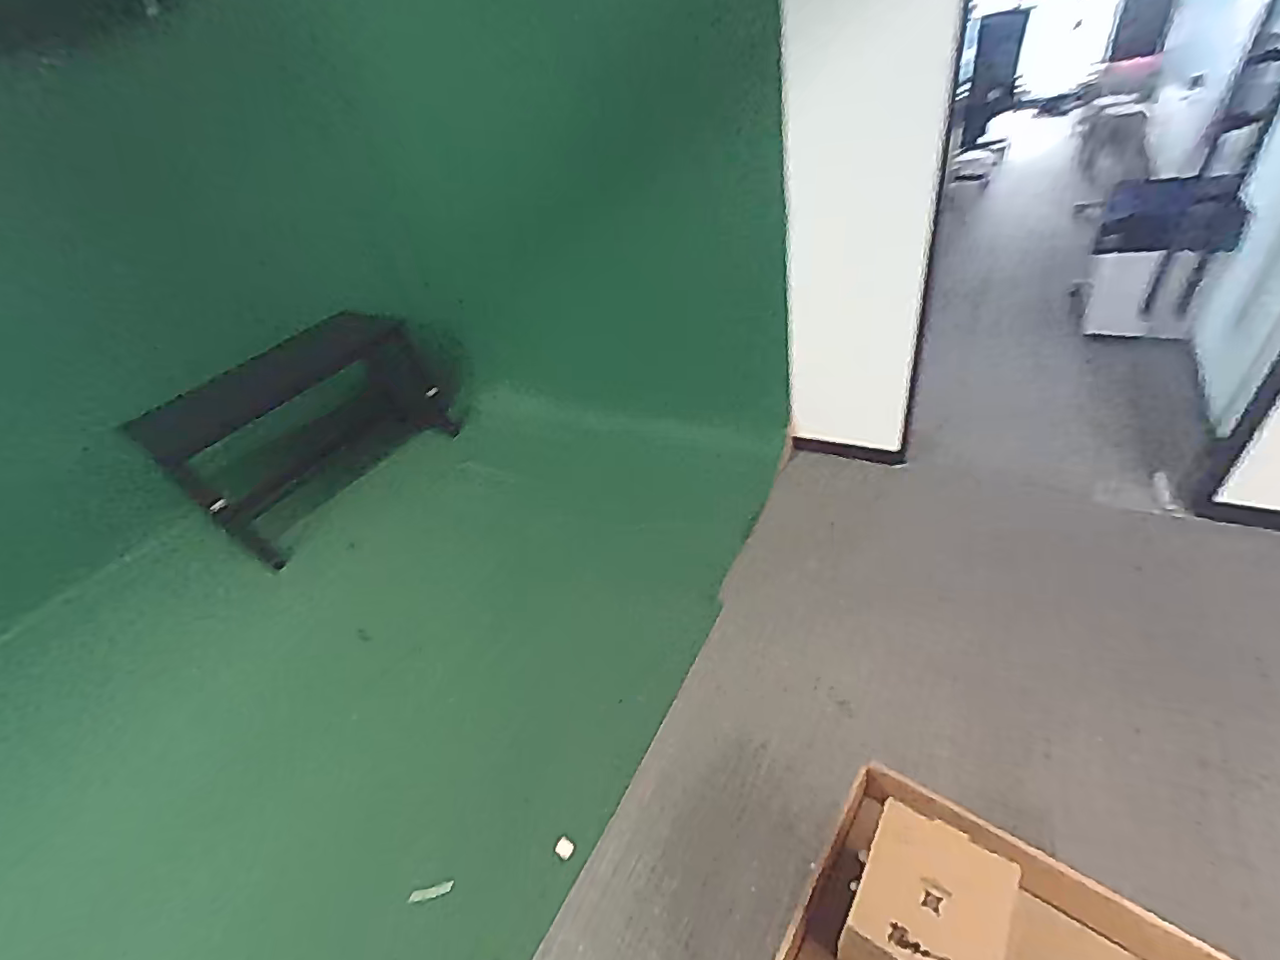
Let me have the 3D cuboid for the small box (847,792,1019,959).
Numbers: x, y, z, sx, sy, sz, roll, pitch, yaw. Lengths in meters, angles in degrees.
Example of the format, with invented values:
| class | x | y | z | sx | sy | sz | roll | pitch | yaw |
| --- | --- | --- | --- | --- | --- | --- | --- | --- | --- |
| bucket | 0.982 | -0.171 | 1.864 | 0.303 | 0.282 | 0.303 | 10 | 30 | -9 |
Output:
| class | x | y | z | sx | sy | sz | roll | pitch | yaw |
| --- | --- | --- | --- | --- | --- | --- | --- | --- | --- |
| small box | 0.396 | 0.587 | 0.751 | 0.168 | 0.176 | 0.179 | 17 | 50 | 34 |
